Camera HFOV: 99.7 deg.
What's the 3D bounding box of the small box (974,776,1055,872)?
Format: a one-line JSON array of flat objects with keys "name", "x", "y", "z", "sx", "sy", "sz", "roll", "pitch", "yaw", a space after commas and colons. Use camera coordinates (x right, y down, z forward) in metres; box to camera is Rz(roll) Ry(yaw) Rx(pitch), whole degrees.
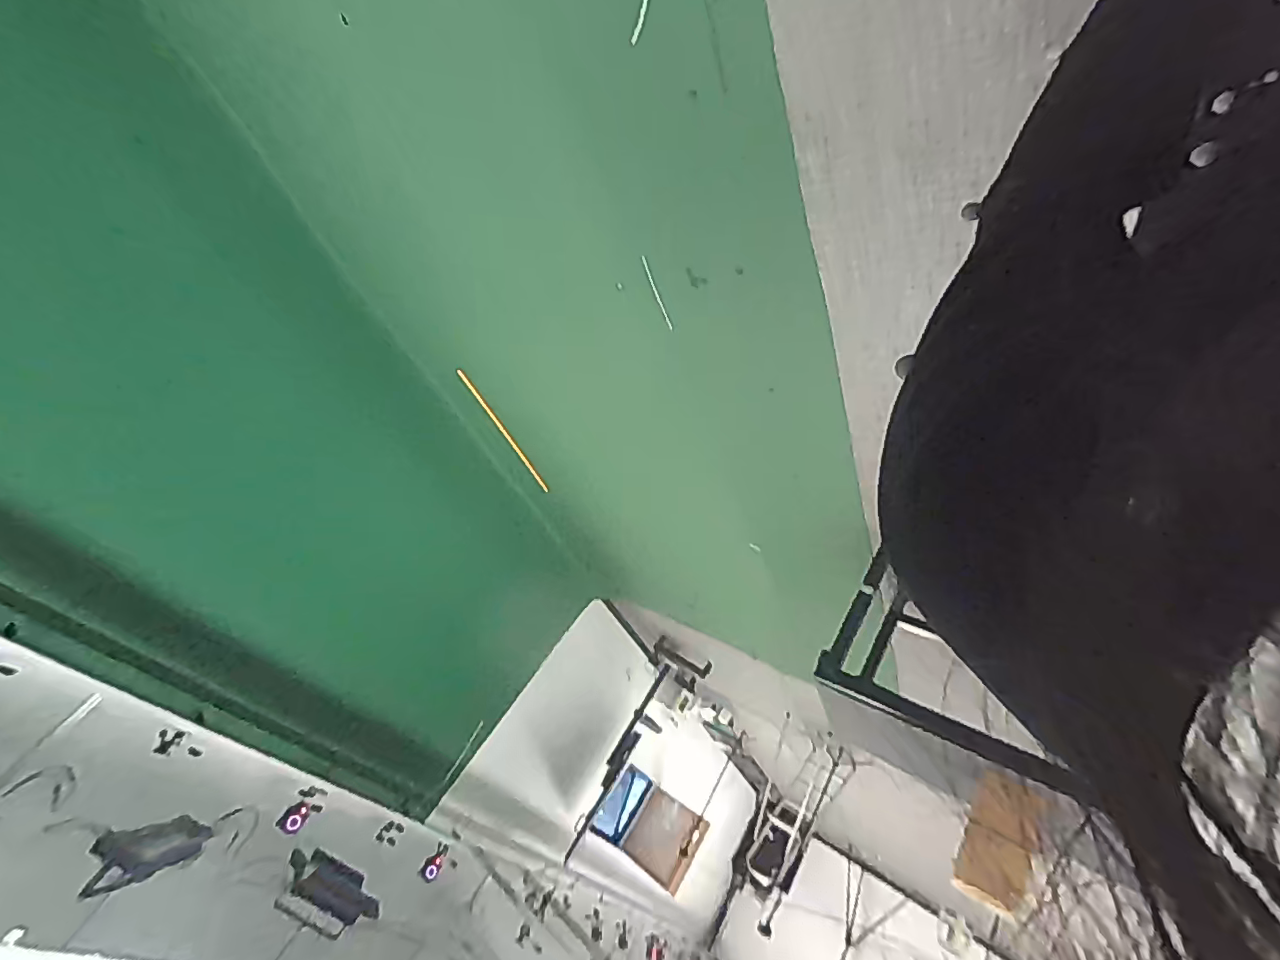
[{"name": "small box", "x": 1.134, "y": 1.040, "z": 1.641, "sx": 0.168, "sy": 0.176, "sz": 0.179, "roll": 16, "pitch": 147, "yaw": 38}]
